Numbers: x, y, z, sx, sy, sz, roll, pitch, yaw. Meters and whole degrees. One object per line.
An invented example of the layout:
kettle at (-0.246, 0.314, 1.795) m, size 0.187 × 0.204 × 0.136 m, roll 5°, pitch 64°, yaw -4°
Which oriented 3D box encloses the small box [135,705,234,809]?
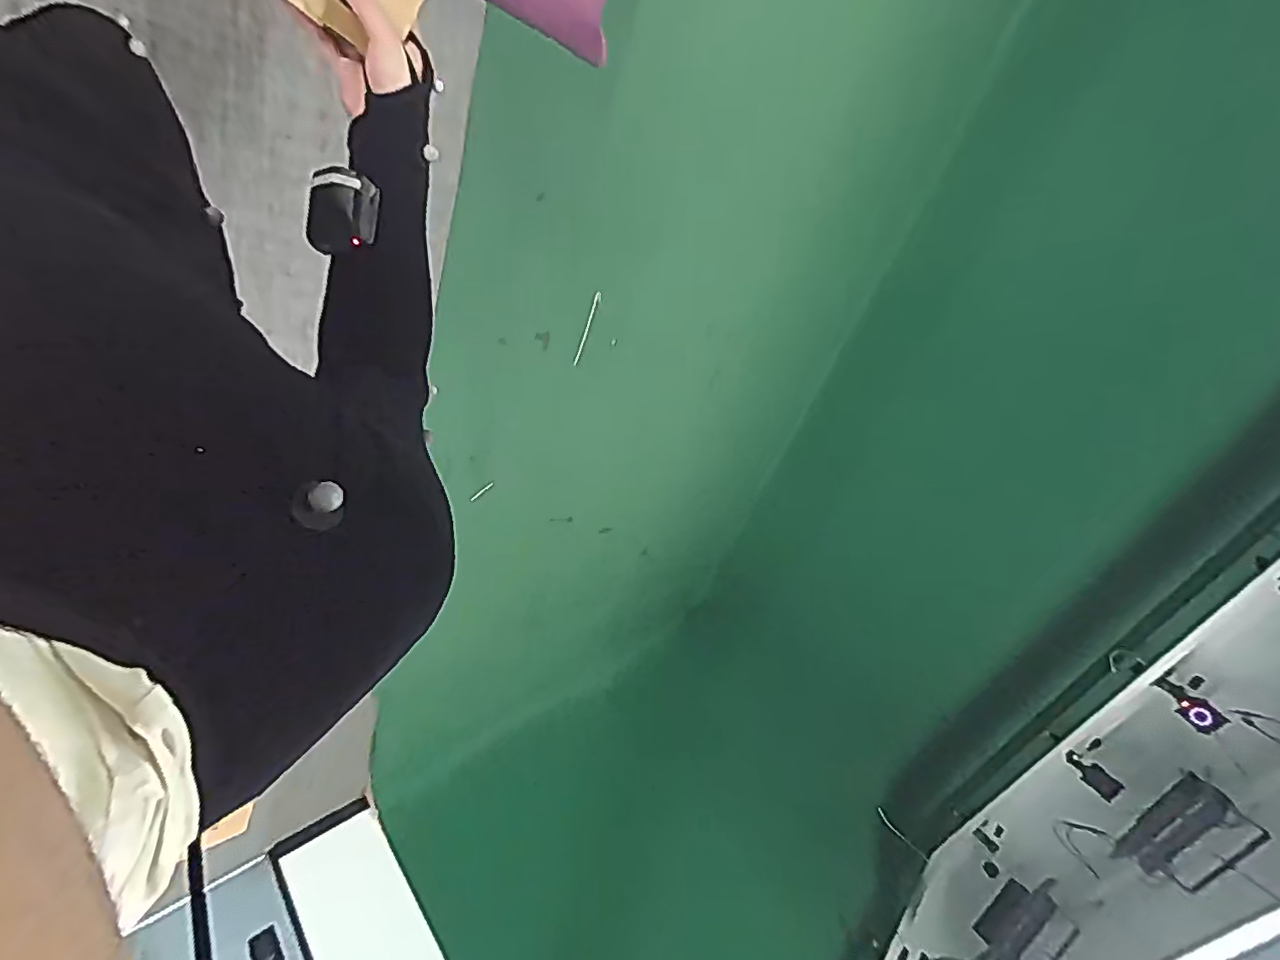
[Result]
small box at (-1.292, 0.776, 1.534) m, size 0.179 × 0.176 × 0.168 m, roll -1°, pitch 126°, yaw -52°

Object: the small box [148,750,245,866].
small box at (-1.189, 0.866, 1.444) m, size 0.168 × 0.176 × 0.179 m, roll -2°, pitch 126°, yaw -51°

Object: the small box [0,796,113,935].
small box at (-1.339, 0.865, 1.236) m, size 0.168 × 0.176 × 0.179 m, roll -2°, pitch 127°, yaw -51°
